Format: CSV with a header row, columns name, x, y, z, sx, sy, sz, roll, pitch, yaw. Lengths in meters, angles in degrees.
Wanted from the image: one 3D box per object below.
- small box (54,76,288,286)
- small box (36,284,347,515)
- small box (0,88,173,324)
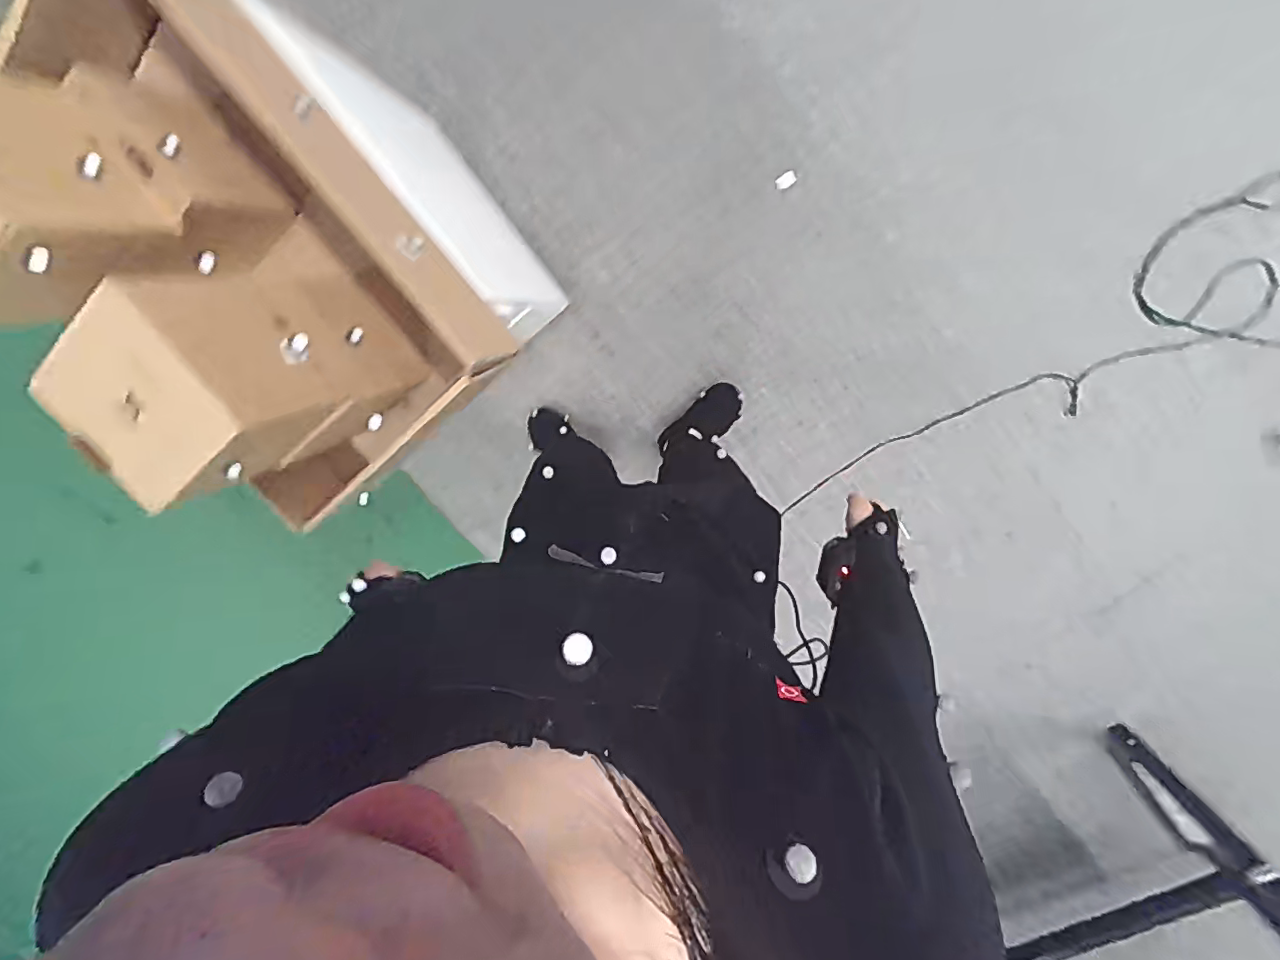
name,x,y,z,sx,sy,sz,roll,pitch,yaw
small box,-0.607,-0.358,0.695,0.179,0.176,0.168,-34,105,21
small box,-0.474,-0.095,0.598,0.179,0.176,0.168,-33,103,19
small box,-0.652,-0.274,0.559,0.179,0.176,0.168,-30,104,19
